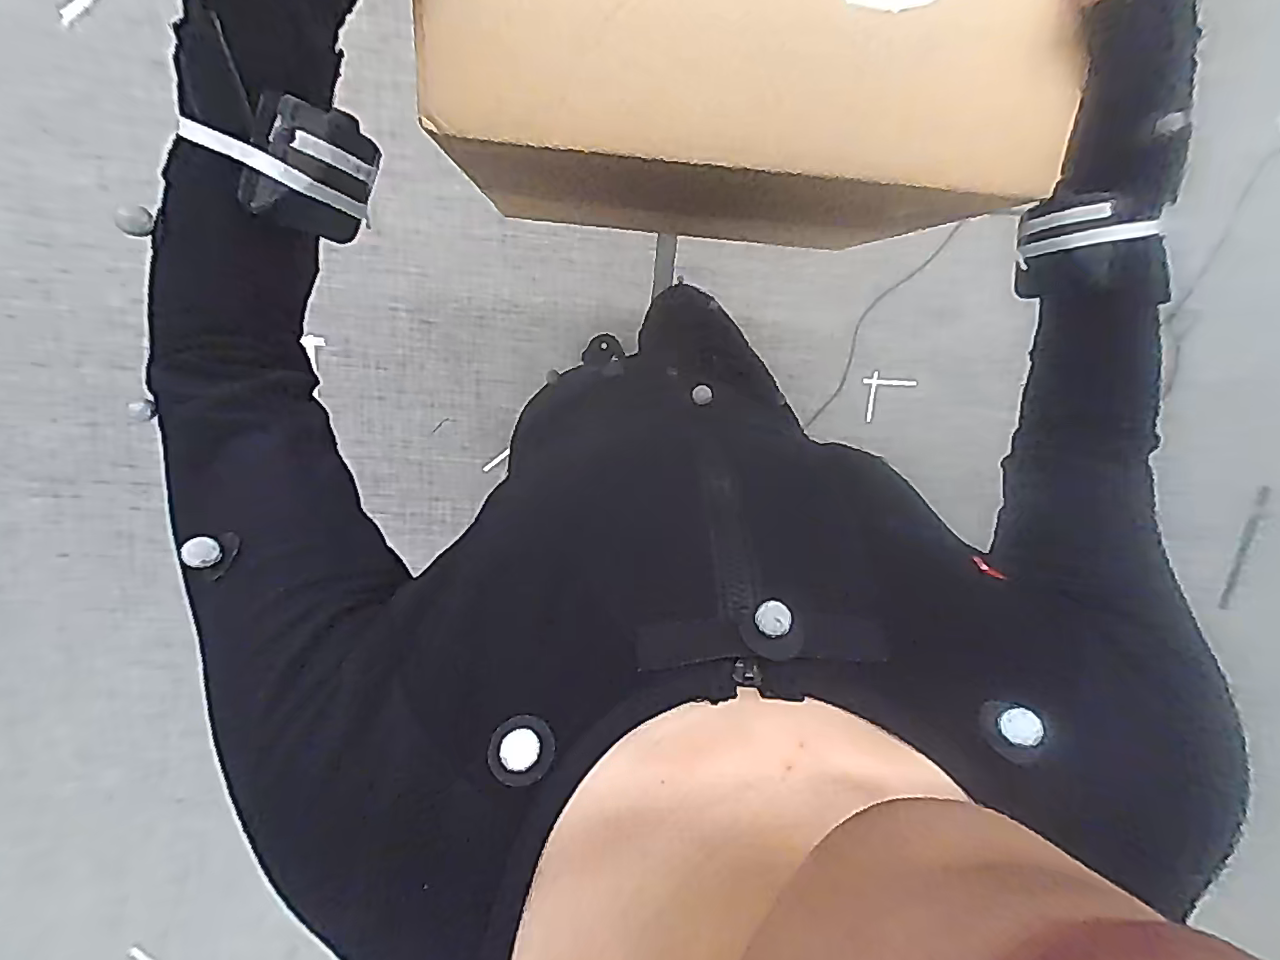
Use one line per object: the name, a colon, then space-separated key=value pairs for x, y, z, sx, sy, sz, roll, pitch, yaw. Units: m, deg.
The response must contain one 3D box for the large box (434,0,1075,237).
large box: x=0.066 y=-0.400 z=0.448 sx=0.408 sy=0.320 sz=0.320 roll=2 pitch=108 yaw=-7
